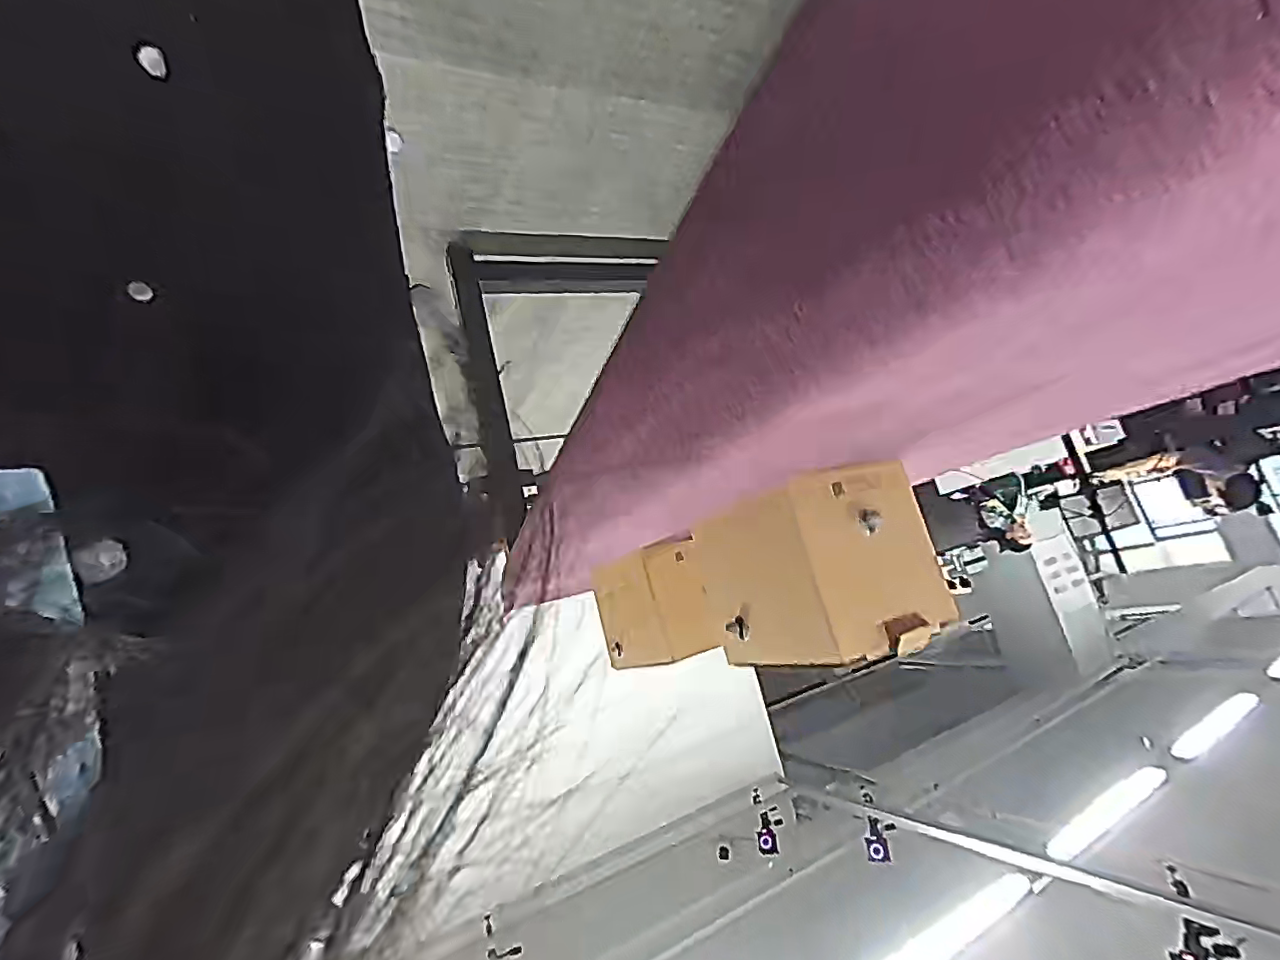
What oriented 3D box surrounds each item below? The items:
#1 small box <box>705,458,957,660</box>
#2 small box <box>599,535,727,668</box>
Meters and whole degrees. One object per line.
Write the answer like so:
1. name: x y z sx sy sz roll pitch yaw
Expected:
1. small box: 0.188 0.085 0.581 0.168 0.176 0.179 -9 166 -28
2. small box: 0.053 0.187 0.865 0.168 0.176 0.179 -6 164 -36
